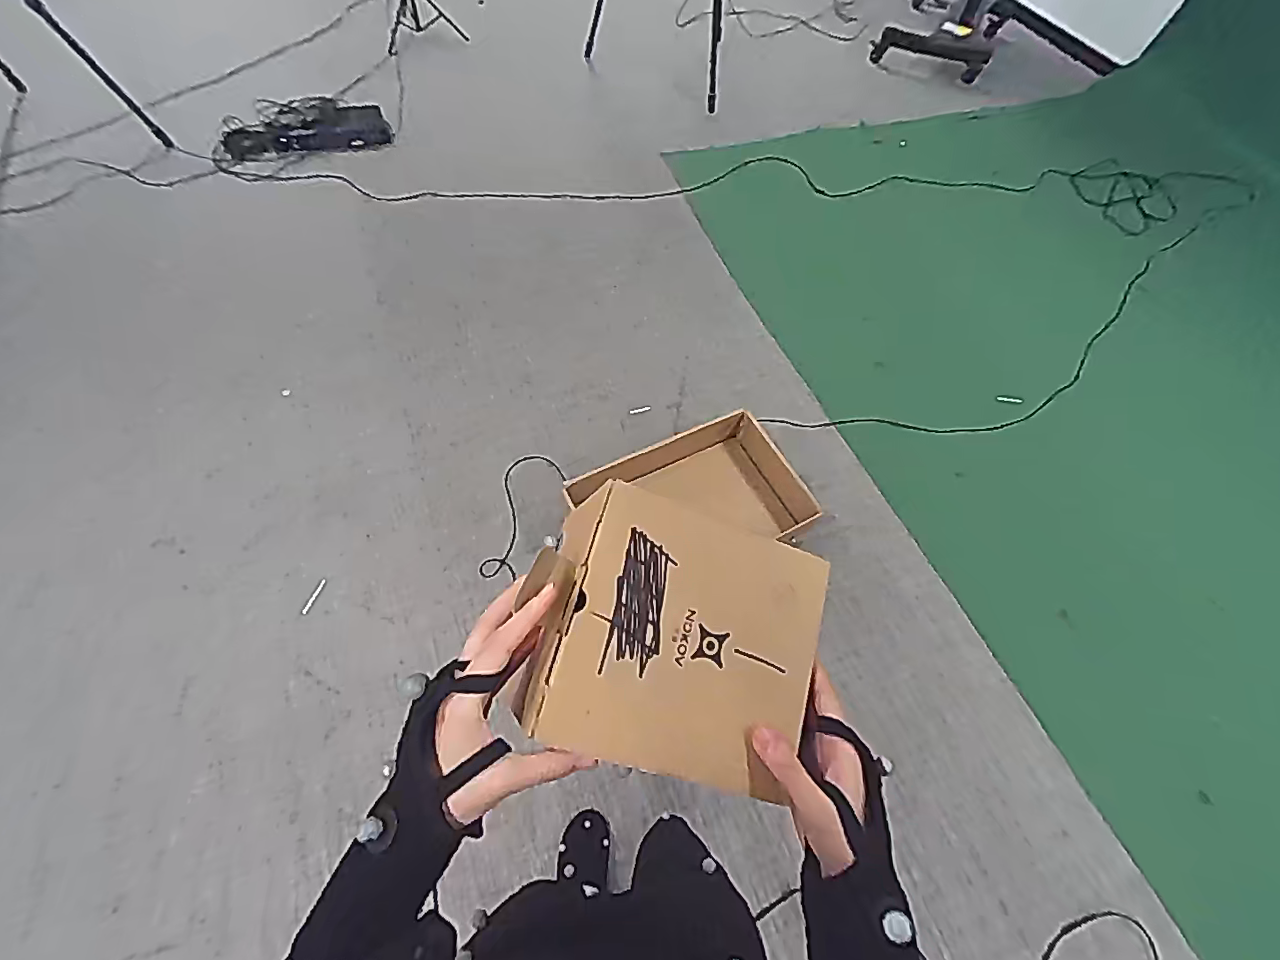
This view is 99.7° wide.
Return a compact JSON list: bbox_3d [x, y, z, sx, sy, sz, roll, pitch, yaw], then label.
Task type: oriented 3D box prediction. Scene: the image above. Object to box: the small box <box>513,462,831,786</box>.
[{"bbox_3d":[0.013,0.109,0.423,0.179,0.176,0.168,22,71,-14],"label":"small box"}]
